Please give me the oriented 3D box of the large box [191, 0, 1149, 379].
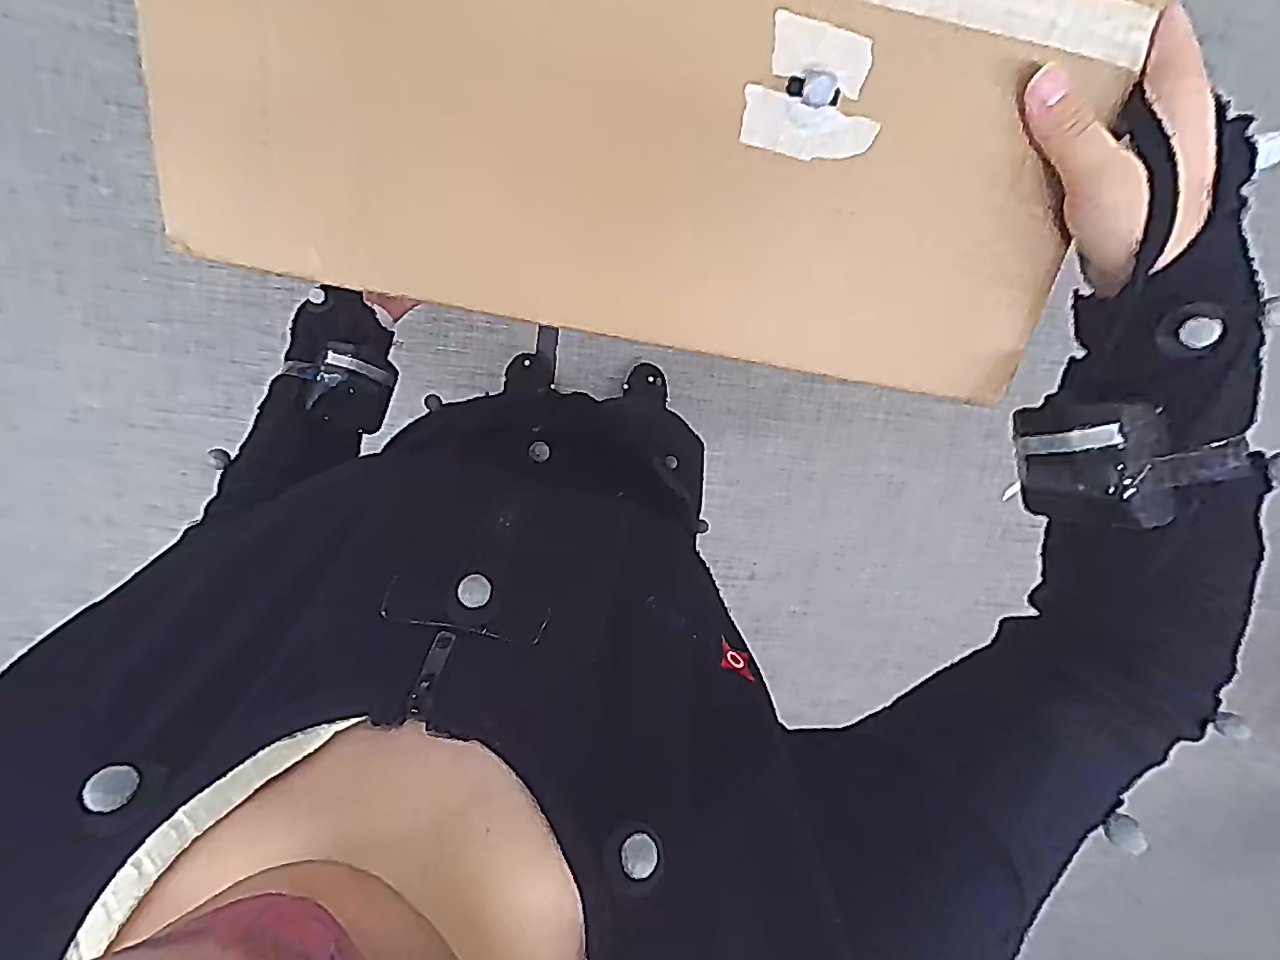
[{"bbox_3d":[0.014,-0.272,0.362,0.408,0.320,0.320,9,110,-7],"label":"large box"}]
